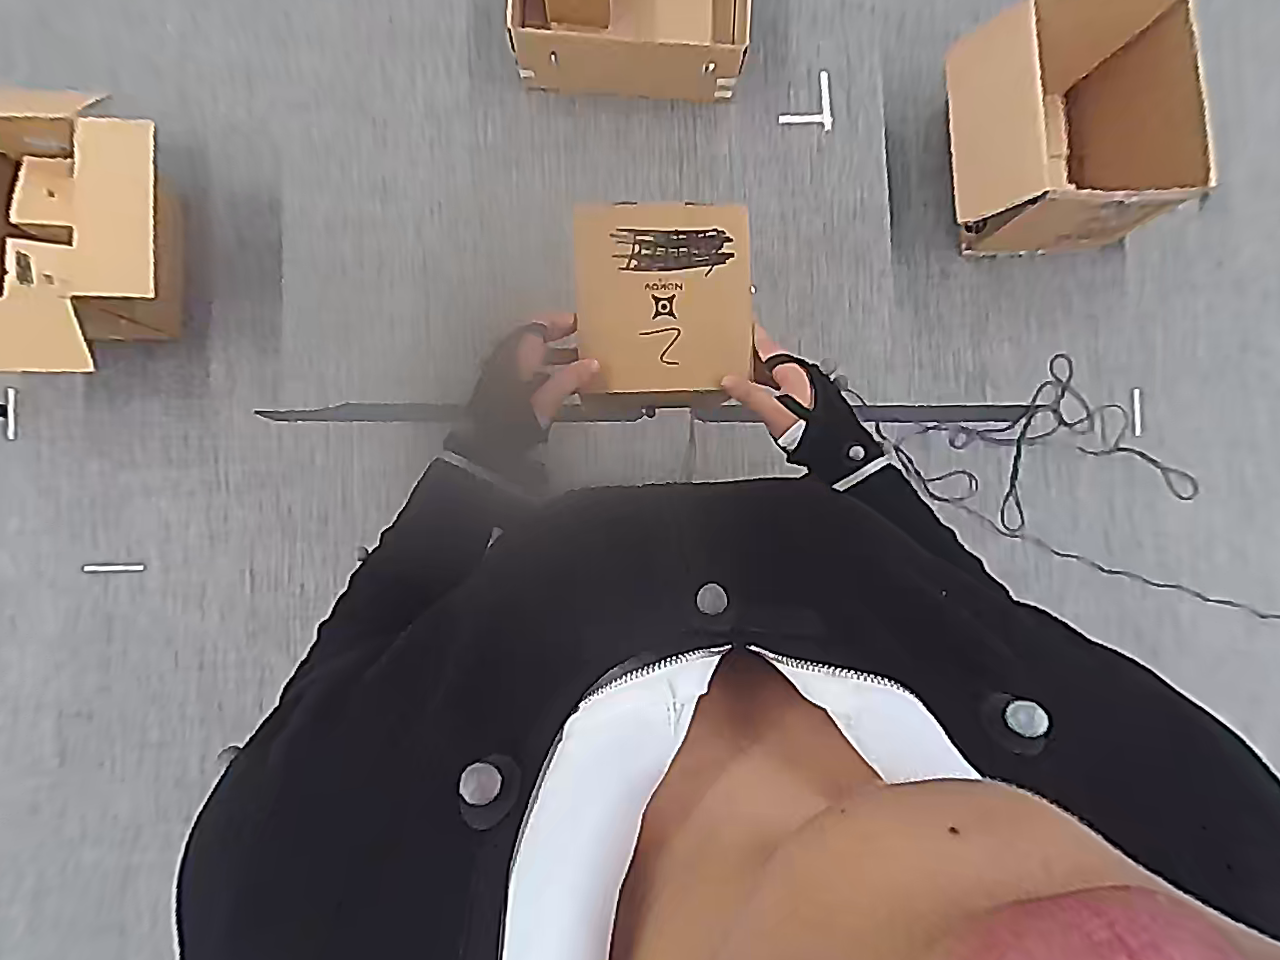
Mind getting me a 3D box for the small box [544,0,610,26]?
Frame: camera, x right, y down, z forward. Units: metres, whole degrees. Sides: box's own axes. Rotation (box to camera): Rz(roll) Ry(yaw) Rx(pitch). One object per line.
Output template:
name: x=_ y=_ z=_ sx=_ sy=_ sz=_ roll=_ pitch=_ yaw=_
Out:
small box: x=-0.166 y=-1.349 z=1.426 sx=0.179 sy=0.176 sz=0.168 roll=2 pitch=90 yaw=-4
